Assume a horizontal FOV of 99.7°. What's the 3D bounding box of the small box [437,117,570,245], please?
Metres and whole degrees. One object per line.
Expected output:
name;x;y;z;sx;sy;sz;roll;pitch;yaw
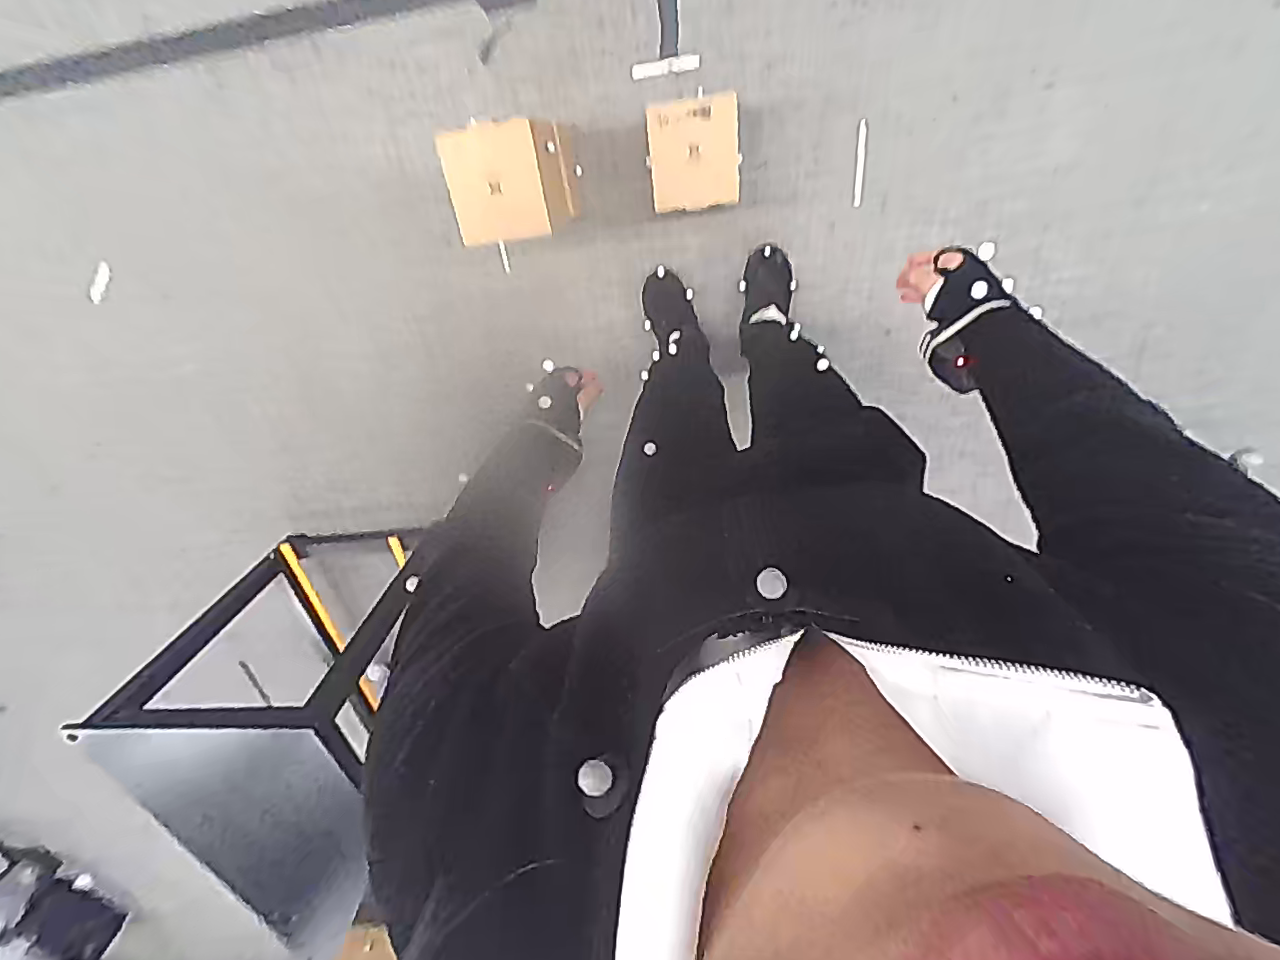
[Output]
small box;-0.237;-0.544;0.987;0.168;0.176;0.179;-4;122;9

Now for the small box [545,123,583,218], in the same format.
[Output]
small box;-0.222;-0.631;1.123;0.179;0.176;0.168;-5;120;9

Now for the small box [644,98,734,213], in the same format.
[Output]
small box;0.103;-0.649;1.084;0.168;0.176;0.179;-3;121;7

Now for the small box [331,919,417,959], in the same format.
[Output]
small box;-0.756;1.374;1.515;0.168;0.176;0.179;-4;119;8
